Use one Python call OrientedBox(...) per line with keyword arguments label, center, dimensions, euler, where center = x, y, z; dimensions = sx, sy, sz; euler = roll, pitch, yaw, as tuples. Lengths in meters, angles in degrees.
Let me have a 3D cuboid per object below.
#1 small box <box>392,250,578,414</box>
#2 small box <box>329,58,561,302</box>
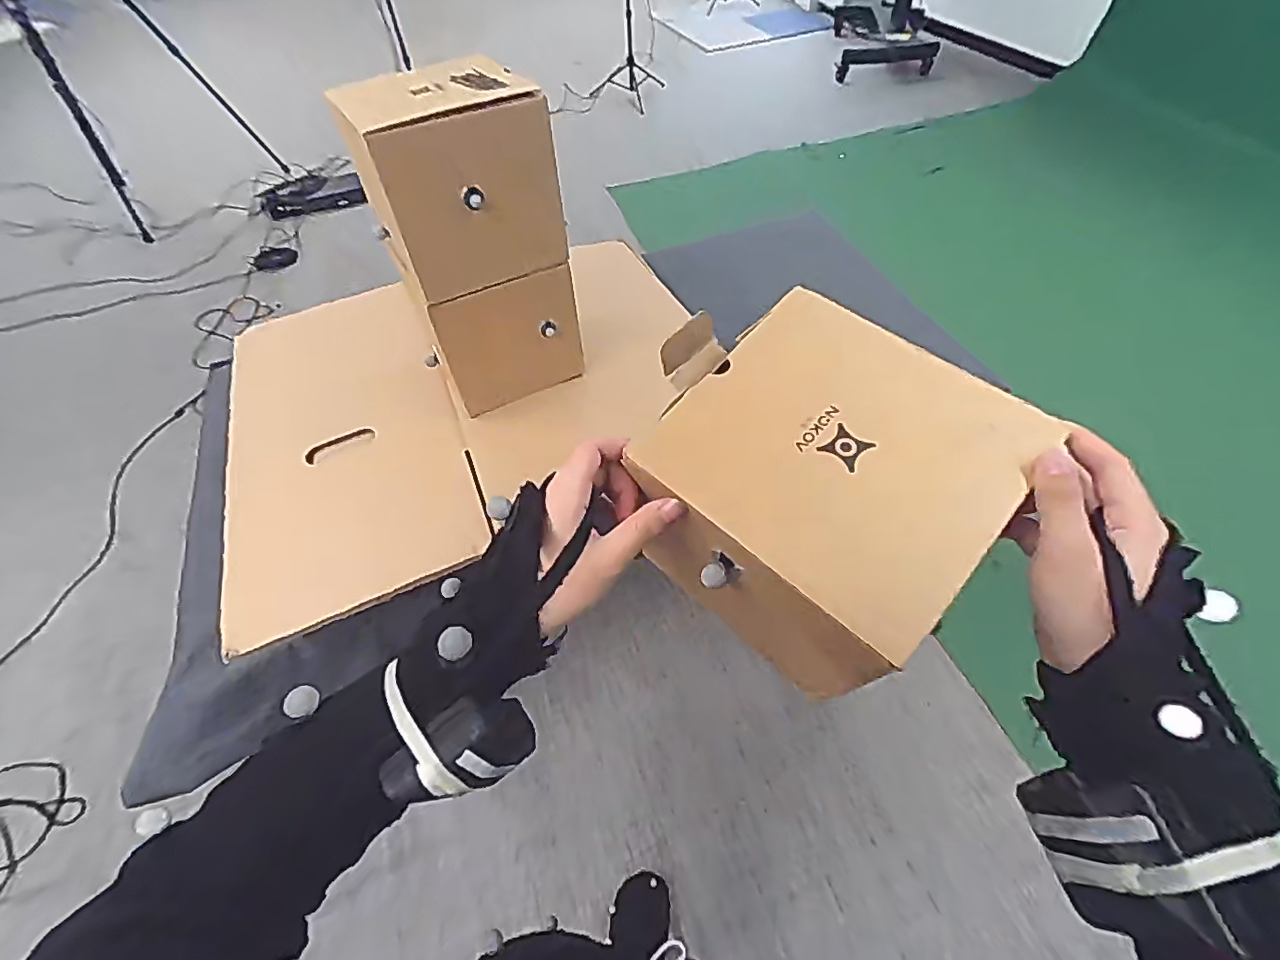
OrientedBox(label="small box", center=(-0.192, -0.219, 0.715), dimensions=(0.179, 0.176, 0.168), euler=(-27, 54, -17))
OrientedBox(label="small box", center=(-0.199, -0.326, 0.591), dimensions=(0.179, 0.176, 0.168), euler=(-27, 54, -17))
